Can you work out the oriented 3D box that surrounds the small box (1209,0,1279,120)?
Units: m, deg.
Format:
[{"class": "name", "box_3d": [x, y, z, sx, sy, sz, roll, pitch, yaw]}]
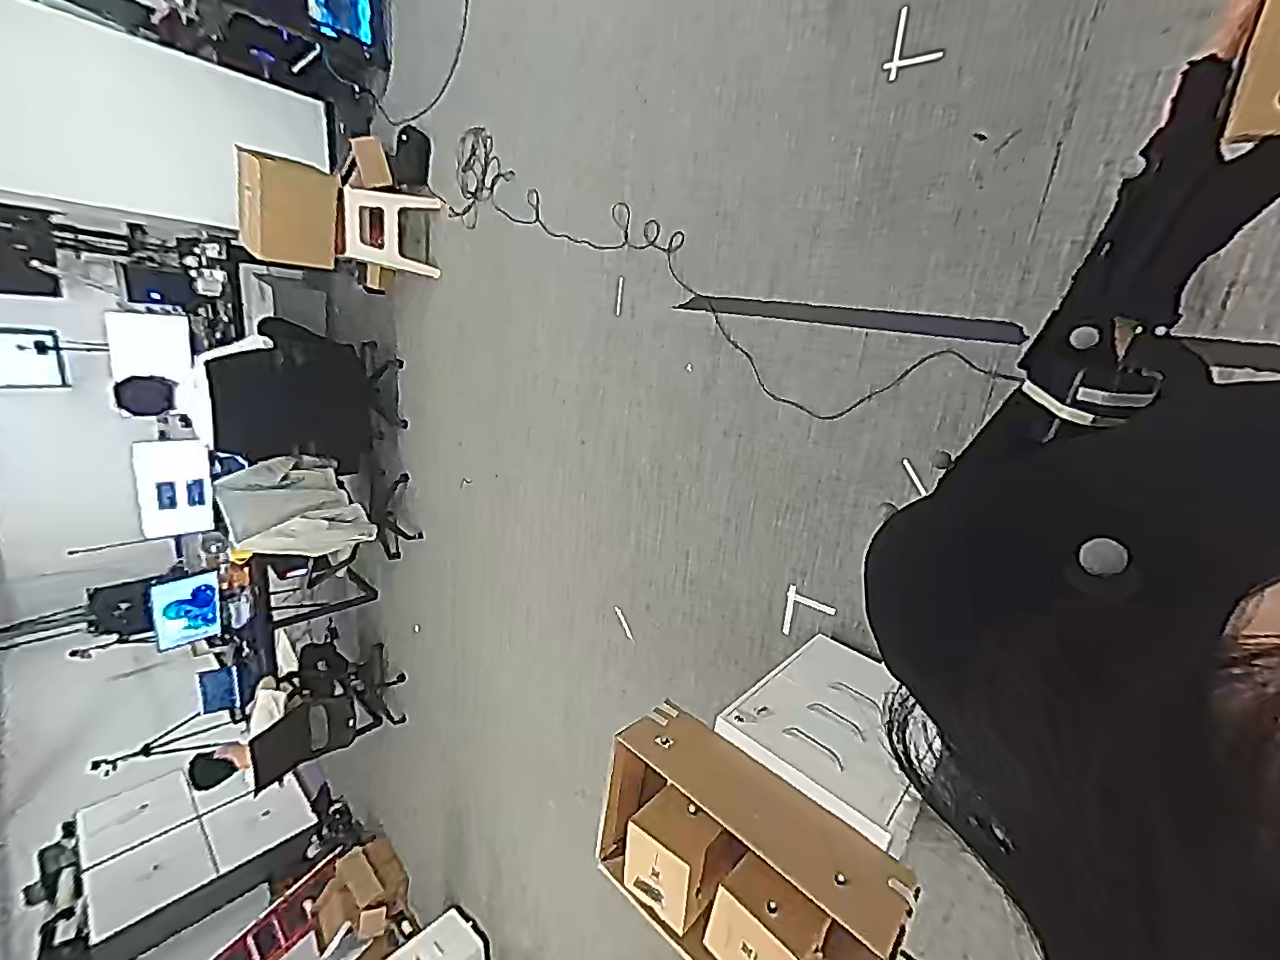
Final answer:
[{"class": "small box", "box_3d": [0.418, -0.294, 0.248, 0.179, 0.176, 0.168, 13, 138, 31]}]
